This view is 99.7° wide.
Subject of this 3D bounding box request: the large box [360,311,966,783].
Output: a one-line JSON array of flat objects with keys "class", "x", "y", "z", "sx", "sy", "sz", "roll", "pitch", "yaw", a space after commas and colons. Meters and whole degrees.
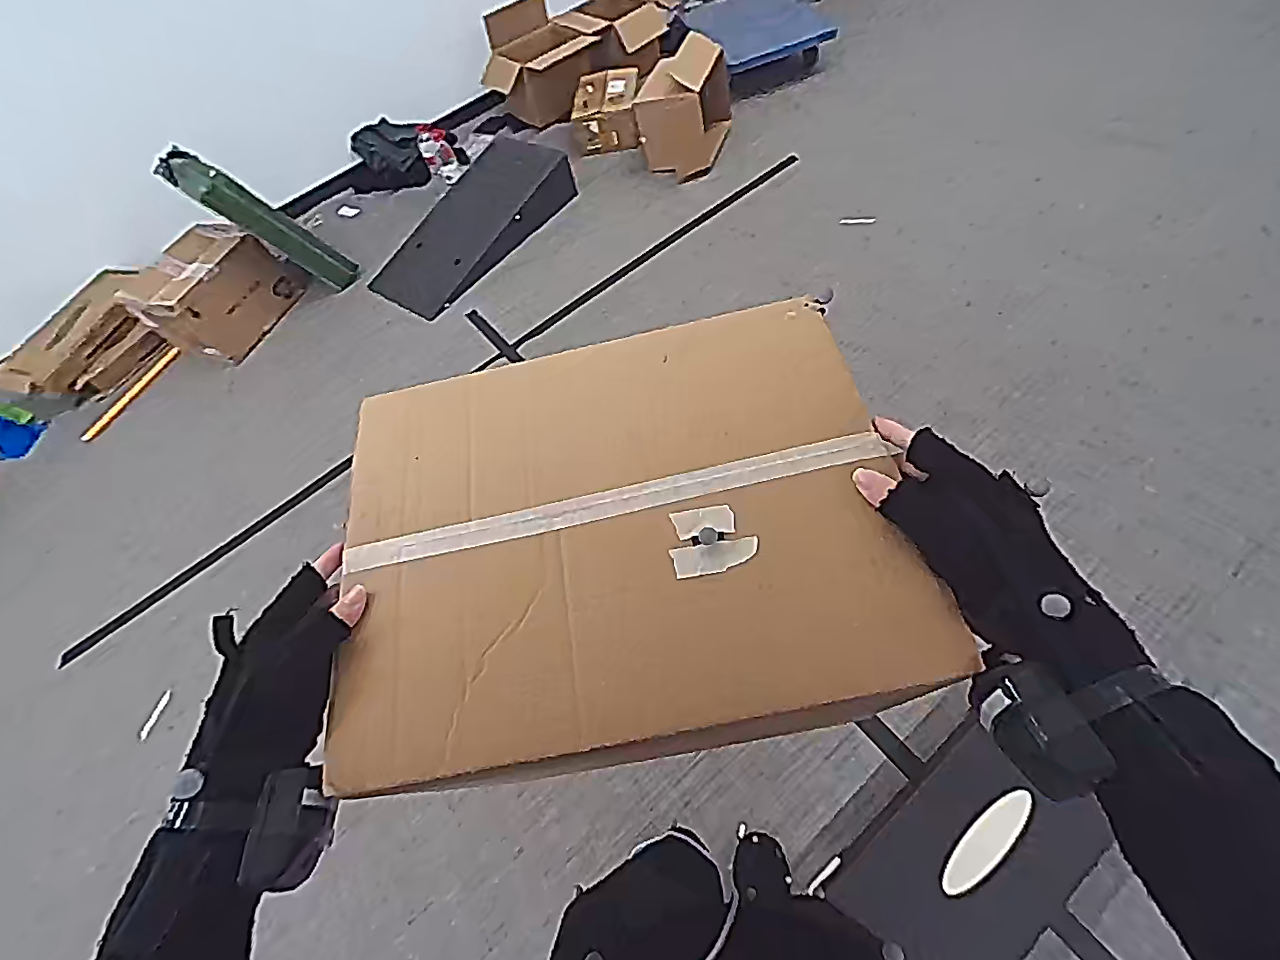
[{"class": "large box", "x": 0.005, "y": 0.092, "z": 0.542, "sx": 0.408, "sy": 0.320, "sz": 0.320, "roll": -12, "pitch": 61, "yaw": 2}]
